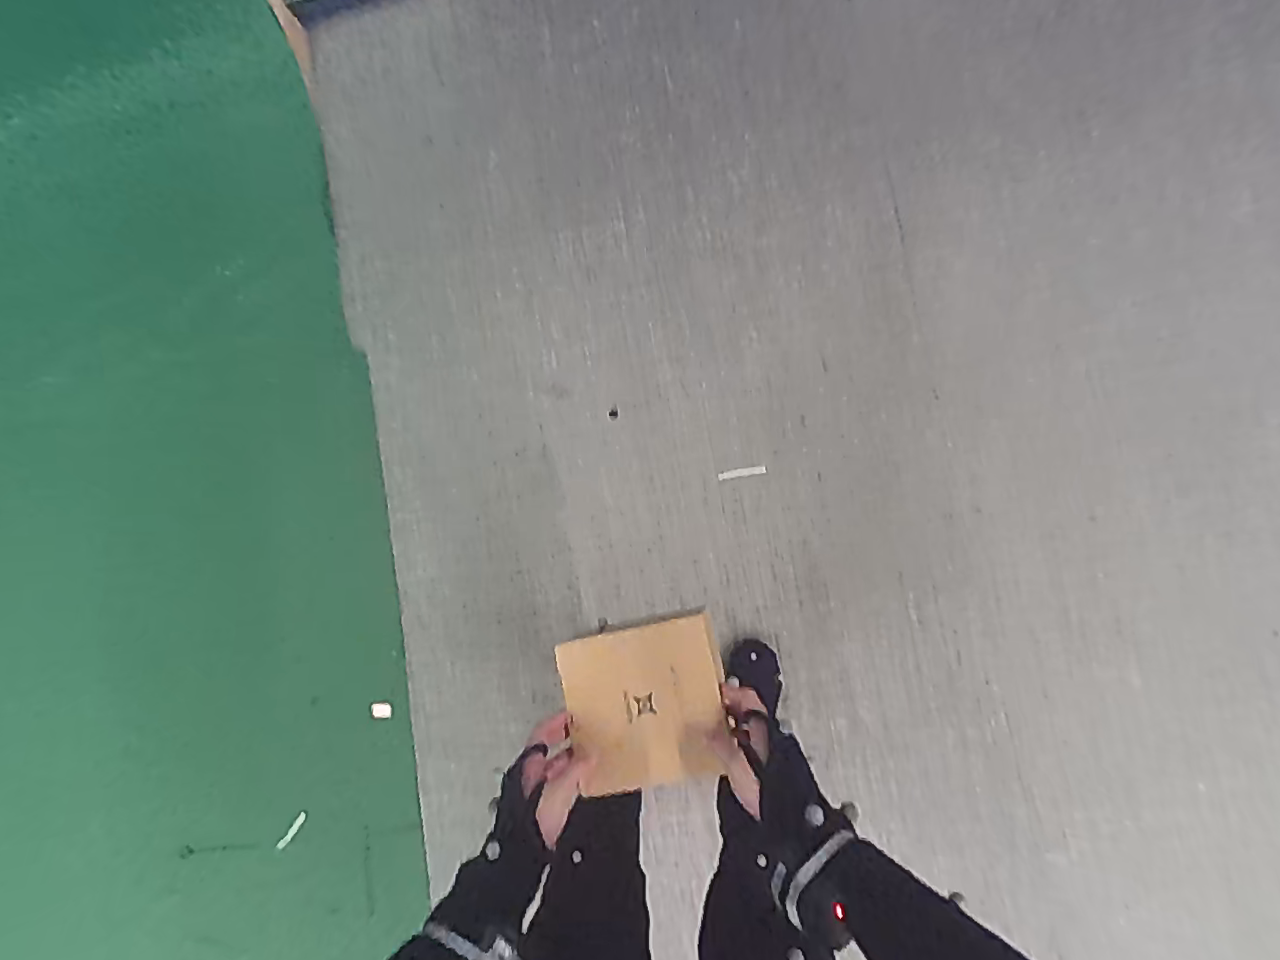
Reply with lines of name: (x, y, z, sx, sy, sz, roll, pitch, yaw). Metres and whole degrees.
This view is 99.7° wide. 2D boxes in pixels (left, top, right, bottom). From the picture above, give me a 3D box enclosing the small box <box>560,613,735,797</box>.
small box: (0.018, 0.266, 0.674, 0.179, 0.176, 0.168, -12, 79, 7)
